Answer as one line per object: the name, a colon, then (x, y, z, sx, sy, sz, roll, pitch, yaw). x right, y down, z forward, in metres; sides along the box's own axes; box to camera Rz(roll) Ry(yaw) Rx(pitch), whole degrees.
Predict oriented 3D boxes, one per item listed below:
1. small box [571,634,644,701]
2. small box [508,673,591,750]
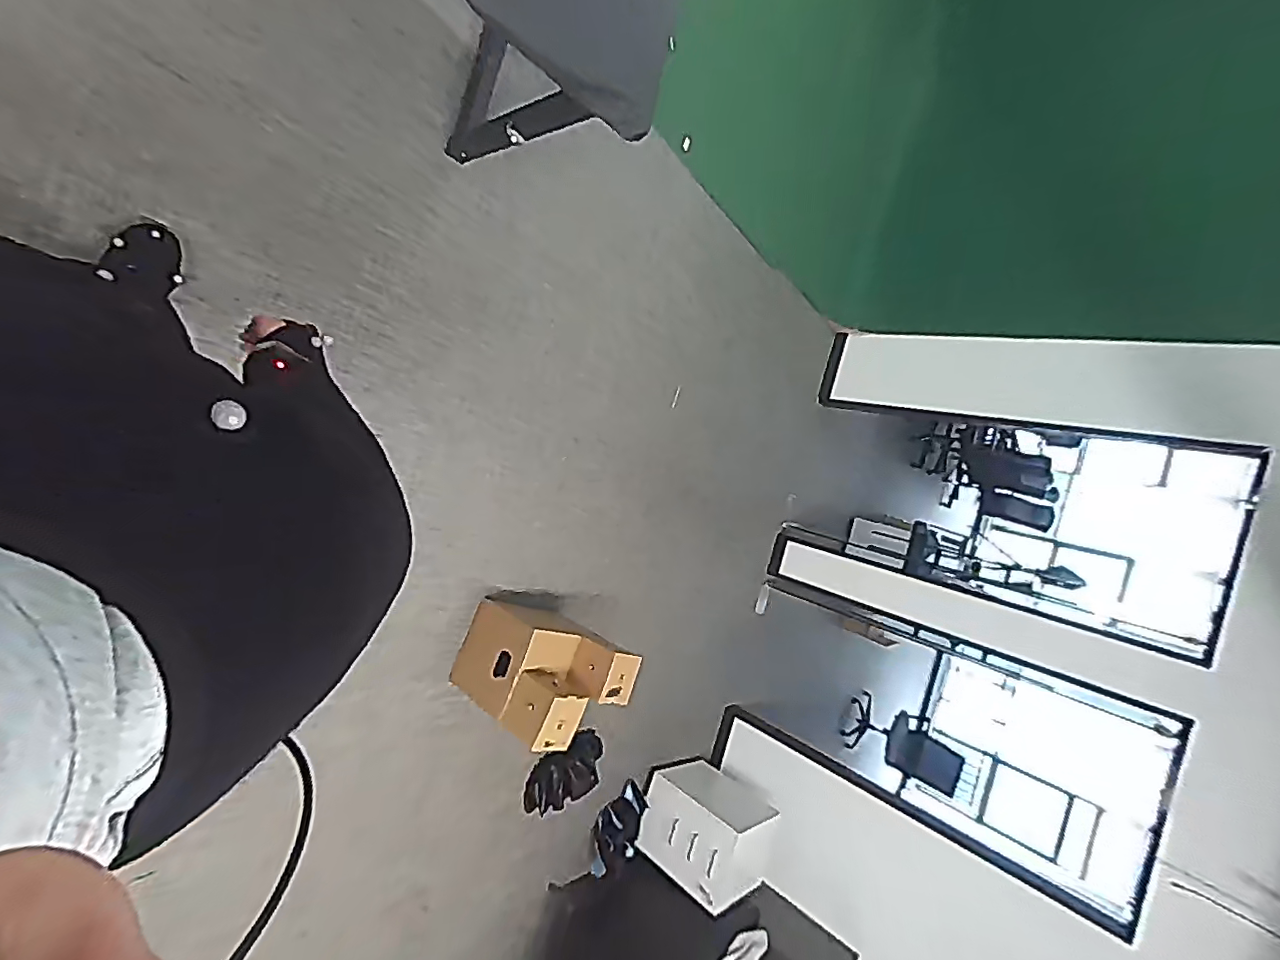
small box: (-0.119, 0.665, 1.918, 0.168, 0.176, 0.179, 31, 74, -50)
small box: (-0.292, 0.735, 1.733, 0.168, 0.176, 0.179, 31, 79, -50)
